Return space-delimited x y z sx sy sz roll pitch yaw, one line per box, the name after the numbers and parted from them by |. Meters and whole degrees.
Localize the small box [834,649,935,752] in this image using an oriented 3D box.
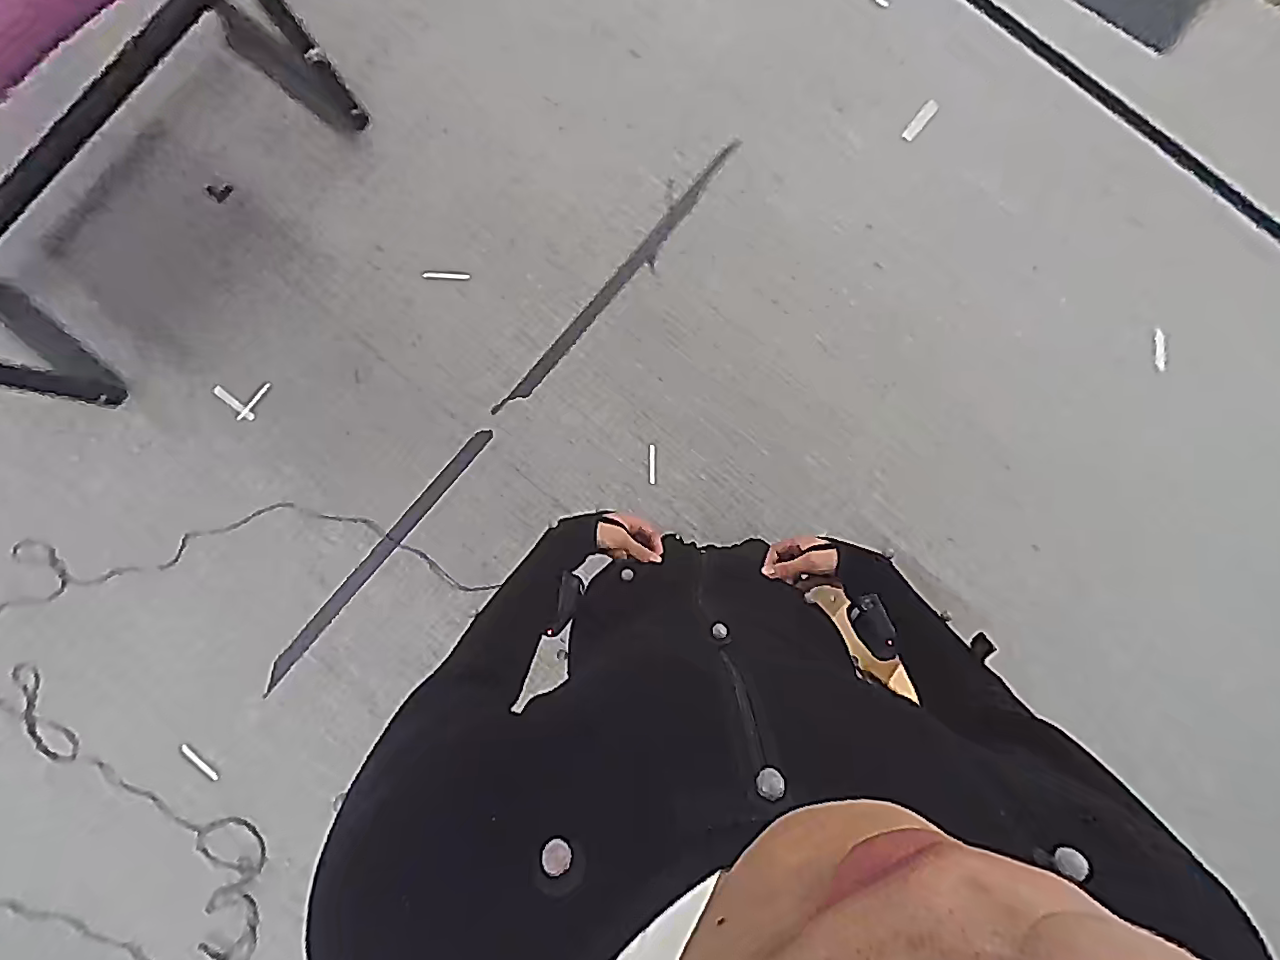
0.660 0.598 1.487 0.168 0.176 0.179 29 88 1 | small box
